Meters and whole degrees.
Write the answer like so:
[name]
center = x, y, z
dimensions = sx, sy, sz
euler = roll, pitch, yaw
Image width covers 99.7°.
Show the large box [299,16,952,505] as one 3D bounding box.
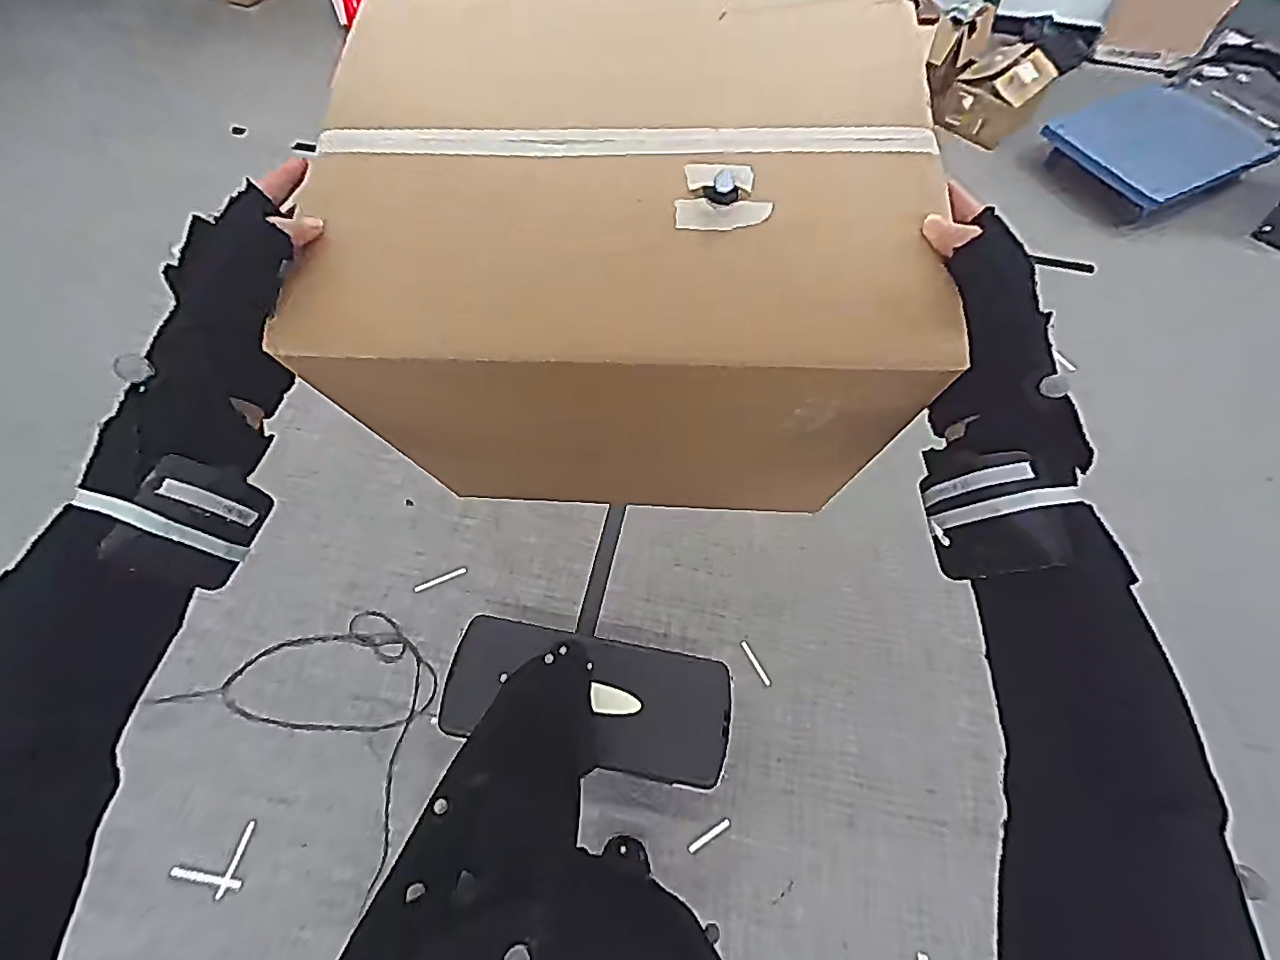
[large box]
center = -0.005, -0.167, 0.511
dimensions = 0.408, 0.320, 0.320
euler = 2, 73, 2
